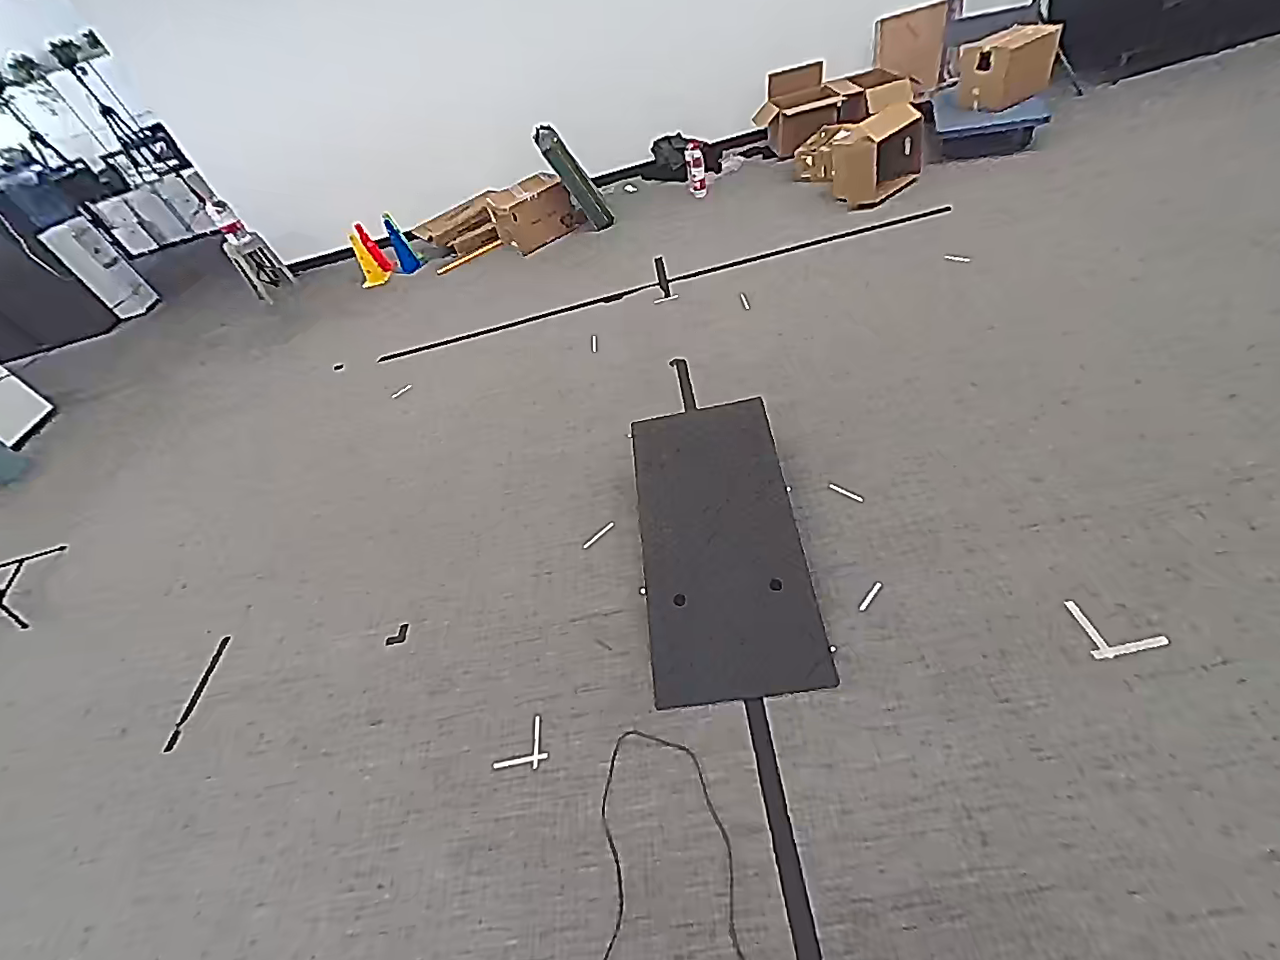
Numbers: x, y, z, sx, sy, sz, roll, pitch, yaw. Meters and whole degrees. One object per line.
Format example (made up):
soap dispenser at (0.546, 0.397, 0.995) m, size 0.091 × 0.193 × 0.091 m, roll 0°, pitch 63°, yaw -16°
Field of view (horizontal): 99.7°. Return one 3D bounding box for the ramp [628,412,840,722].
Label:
ramp at (0.245, 0.207, 1.726) m, size 0.509 × 0.206 × 0.991 m, roll -13°, pitch 44°, yaw 5°
